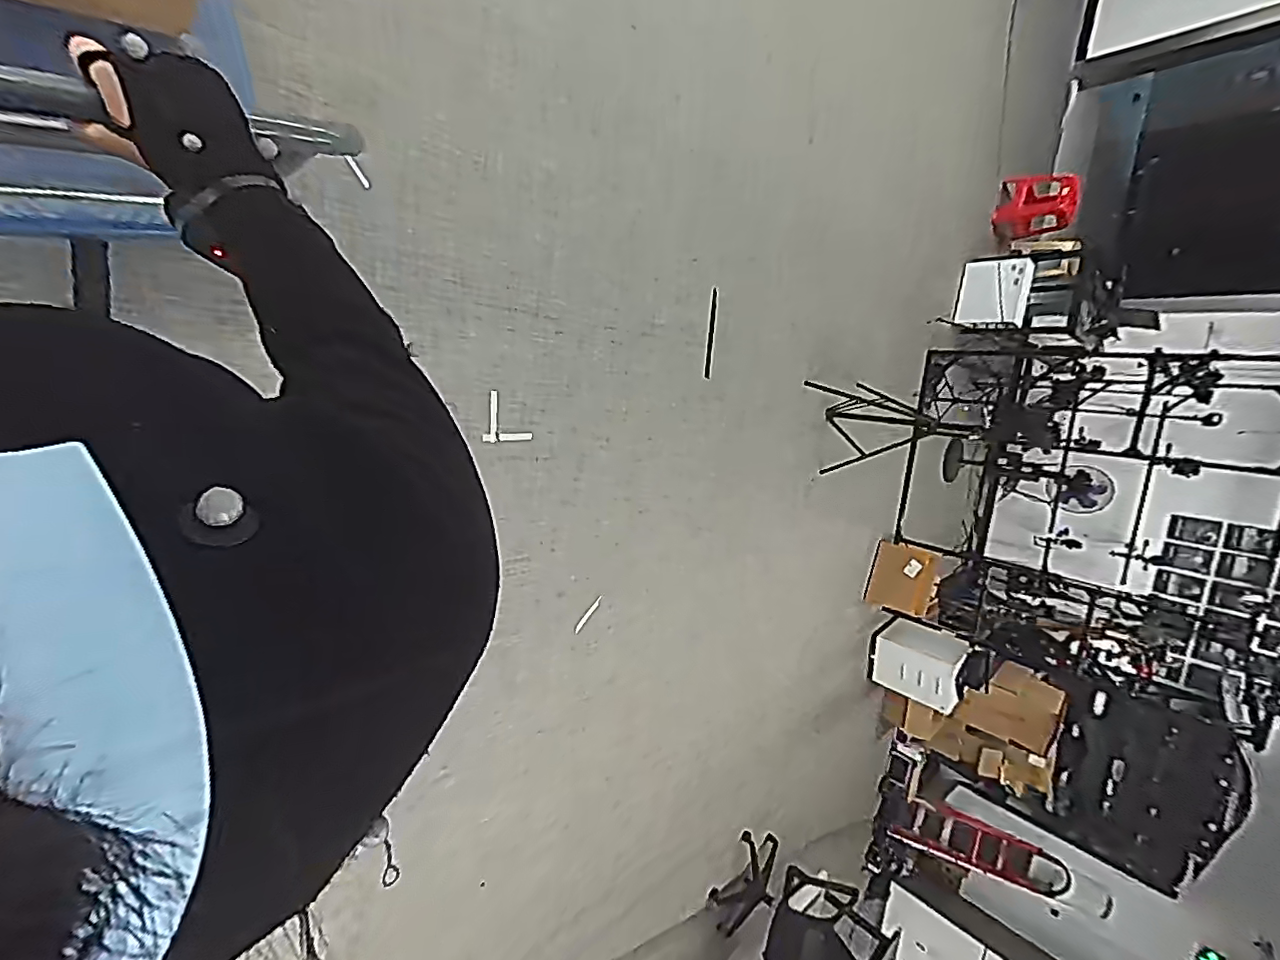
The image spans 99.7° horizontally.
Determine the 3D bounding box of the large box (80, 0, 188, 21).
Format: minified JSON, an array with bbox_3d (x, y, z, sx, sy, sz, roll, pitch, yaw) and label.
[{"bbox_3d":[-0.839,-0.847,0.655,0.408,0.320,0.320,-17,113,-39],"label":"large box"}]
